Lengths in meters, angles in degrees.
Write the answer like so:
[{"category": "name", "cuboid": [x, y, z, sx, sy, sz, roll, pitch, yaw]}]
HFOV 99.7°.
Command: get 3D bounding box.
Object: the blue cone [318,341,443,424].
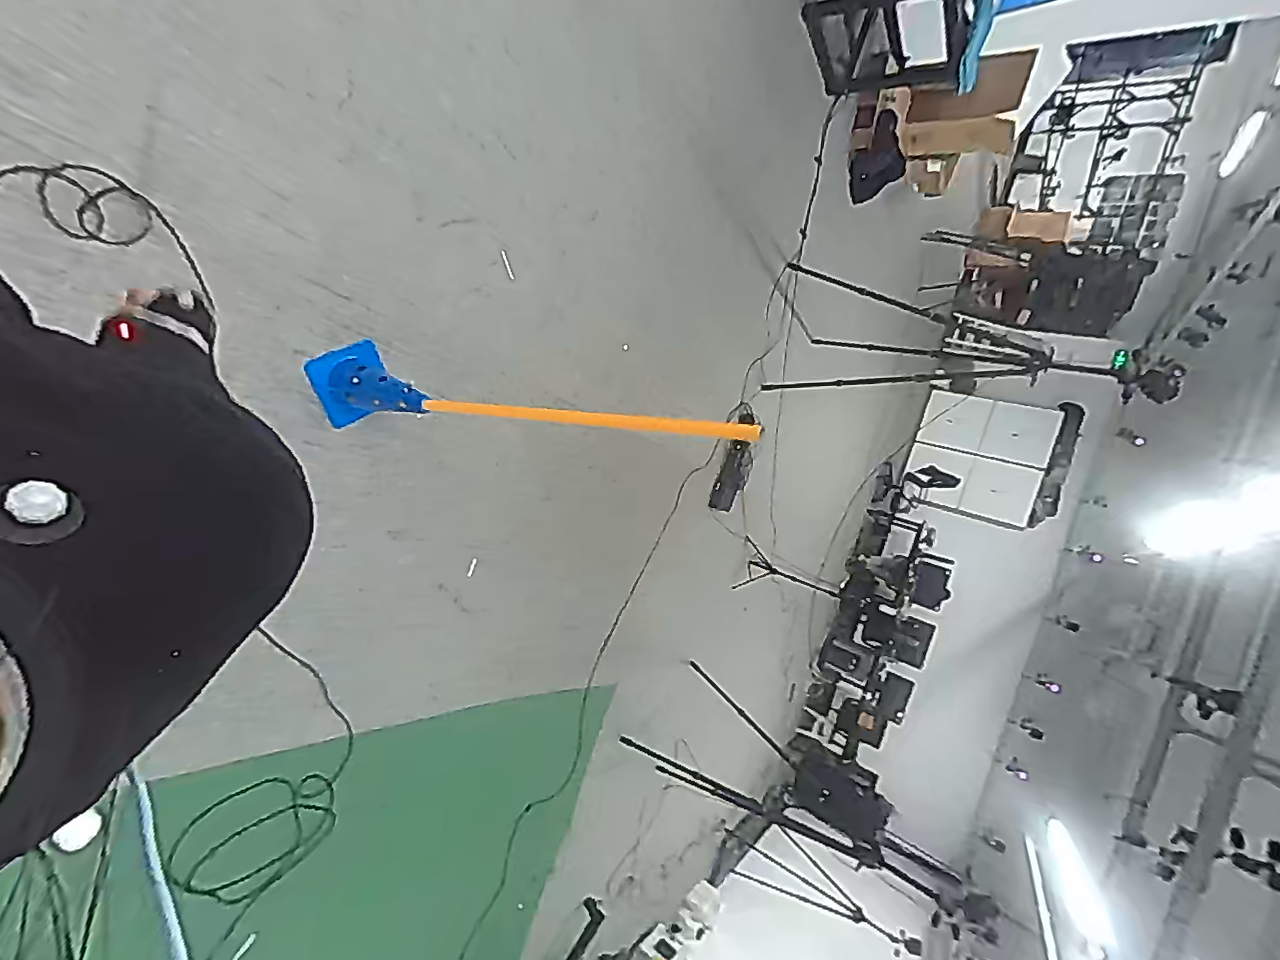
[{"category": "blue cone", "cuboid": [-0.645, -0.234, 1.414, 0.193, 0.380, 0.192, -44, 138, -38]}]
